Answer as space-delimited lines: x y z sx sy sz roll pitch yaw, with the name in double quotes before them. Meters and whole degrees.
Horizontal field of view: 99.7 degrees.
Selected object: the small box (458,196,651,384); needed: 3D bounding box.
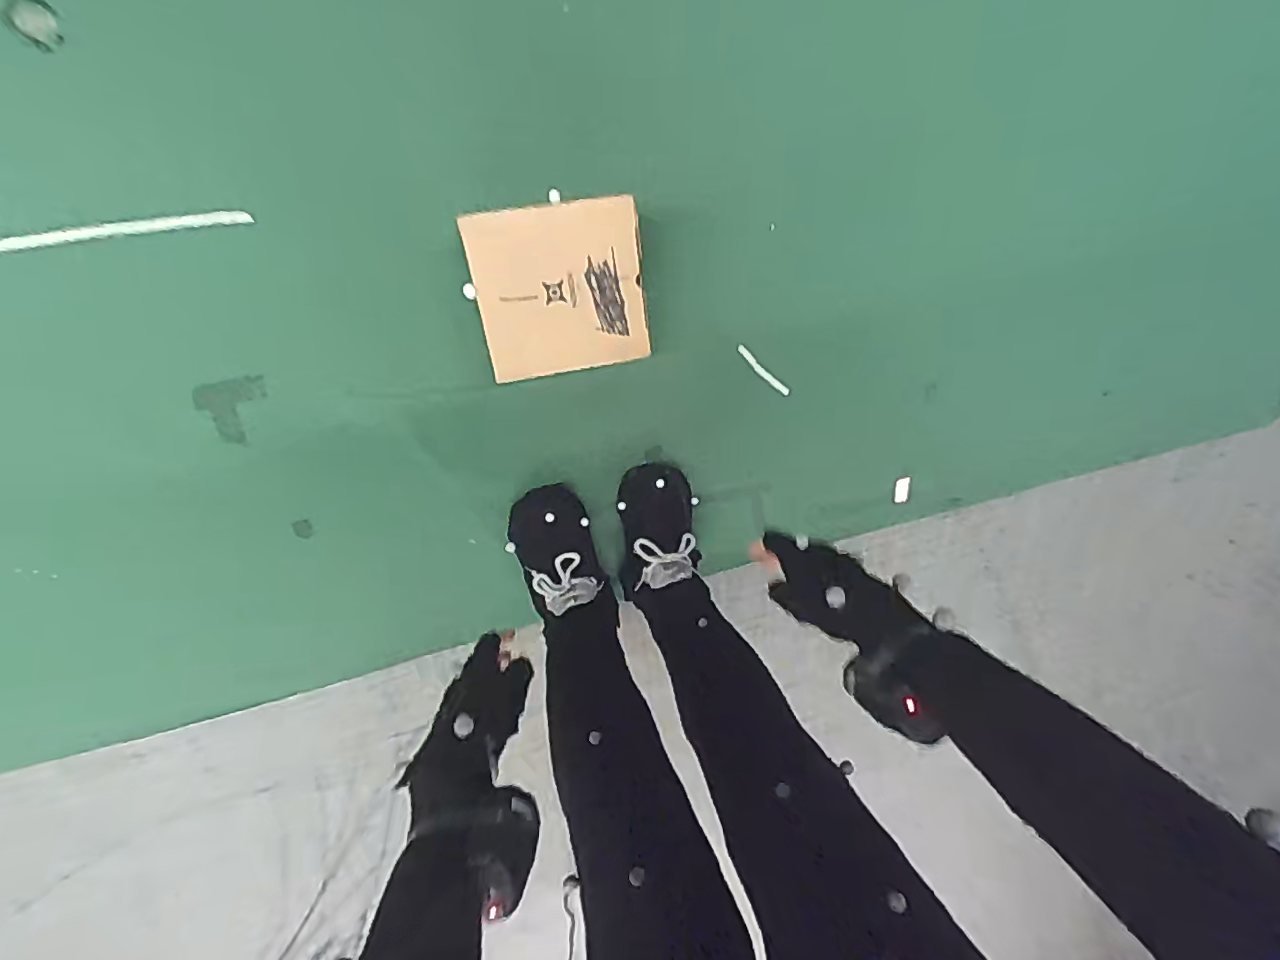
"small box" -0.098 -0.222 0.618 0.179 0.176 0.168 -12 116 -9
